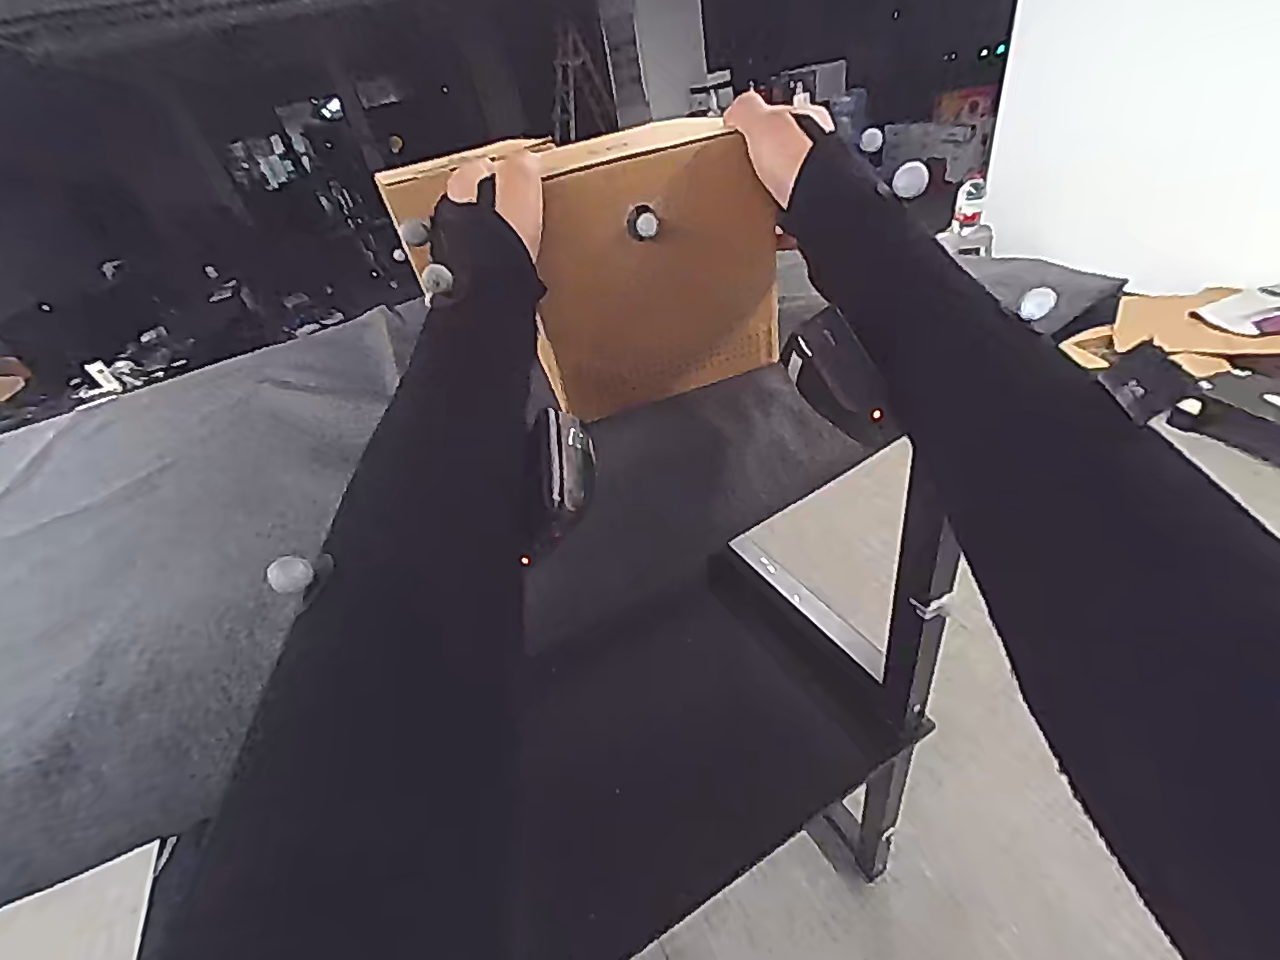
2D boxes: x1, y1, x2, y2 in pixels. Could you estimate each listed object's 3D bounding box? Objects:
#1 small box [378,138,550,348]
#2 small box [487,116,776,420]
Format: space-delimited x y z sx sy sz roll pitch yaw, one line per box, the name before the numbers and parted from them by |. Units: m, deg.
small box | -0.172 -0.266 0.608 0.168 0.176 0.179 -24 37 -13
small box | -0.006 -0.174 0.434 0.179 0.176 0.168 -19 36 -7
